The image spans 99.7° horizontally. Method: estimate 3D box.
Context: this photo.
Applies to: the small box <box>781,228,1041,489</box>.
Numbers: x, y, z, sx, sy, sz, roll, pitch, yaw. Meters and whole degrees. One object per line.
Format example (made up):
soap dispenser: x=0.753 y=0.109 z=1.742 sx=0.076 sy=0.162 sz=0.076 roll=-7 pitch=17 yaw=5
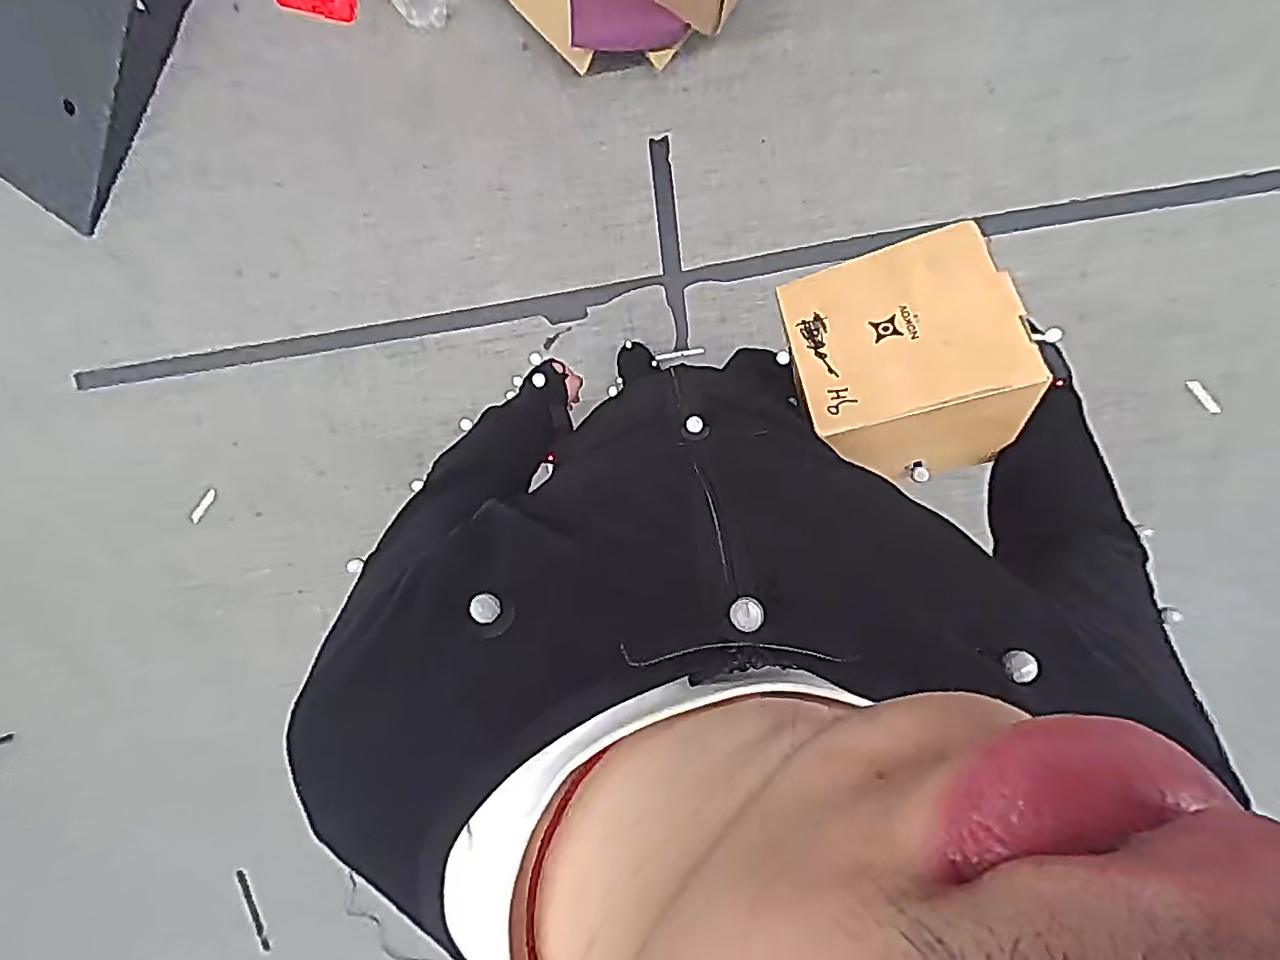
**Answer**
small box: x=0.252 y=-0.107 z=0.546 sx=0.179 sy=0.176 sz=0.168 roll=-14 pitch=65 yaw=16
